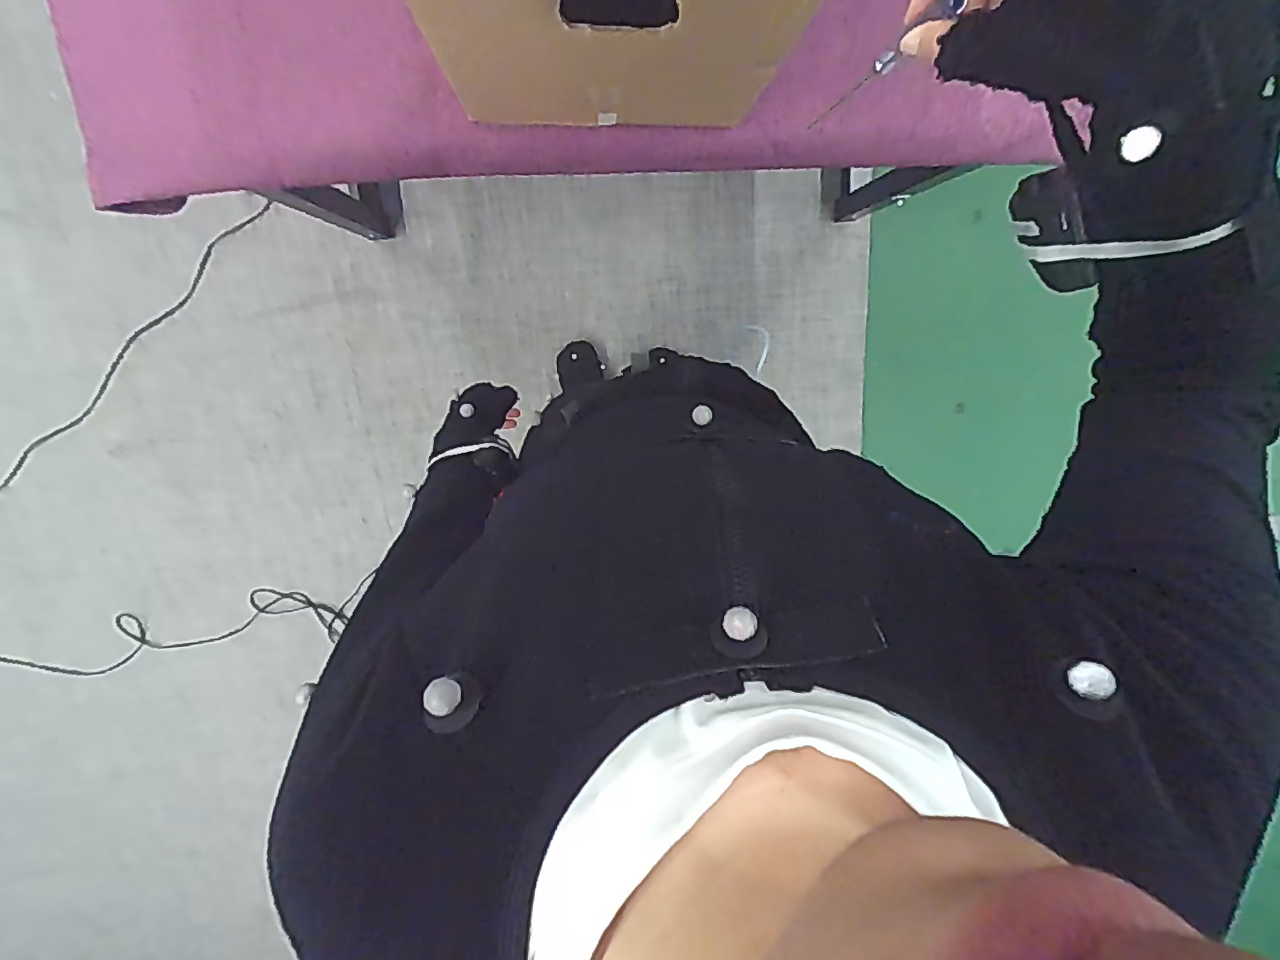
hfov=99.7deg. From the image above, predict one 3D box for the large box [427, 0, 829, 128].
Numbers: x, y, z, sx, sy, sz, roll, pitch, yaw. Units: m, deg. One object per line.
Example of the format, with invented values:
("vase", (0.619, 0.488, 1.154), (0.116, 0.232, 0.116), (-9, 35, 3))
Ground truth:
("large box", (-0.022, -0.571, 0.441), (0.320, 0.320, 0.408), (-2, 105, -5))
